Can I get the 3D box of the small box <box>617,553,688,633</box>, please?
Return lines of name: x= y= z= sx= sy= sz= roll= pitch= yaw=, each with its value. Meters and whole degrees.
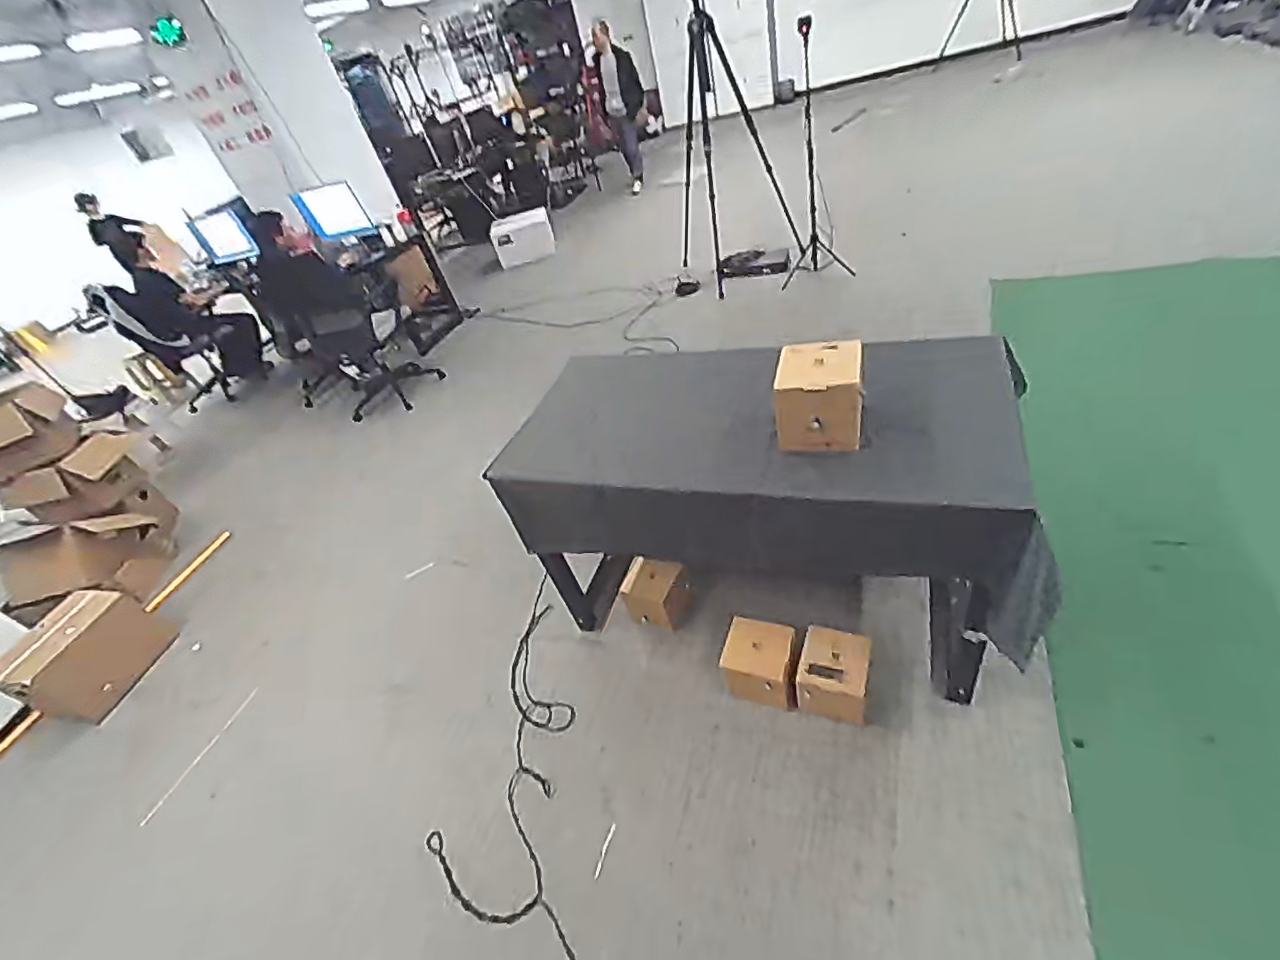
small box: x=0.051 y=0.376 z=1.806 sx=0.168 sy=0.176 sz=0.179 roll=9 pitch=45 yaw=31

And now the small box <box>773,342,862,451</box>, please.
small box: x=0.390 y=-0.177 z=1.173 sx=0.168 sy=0.176 sz=0.179 roll=2 pitch=43 yaw=23
